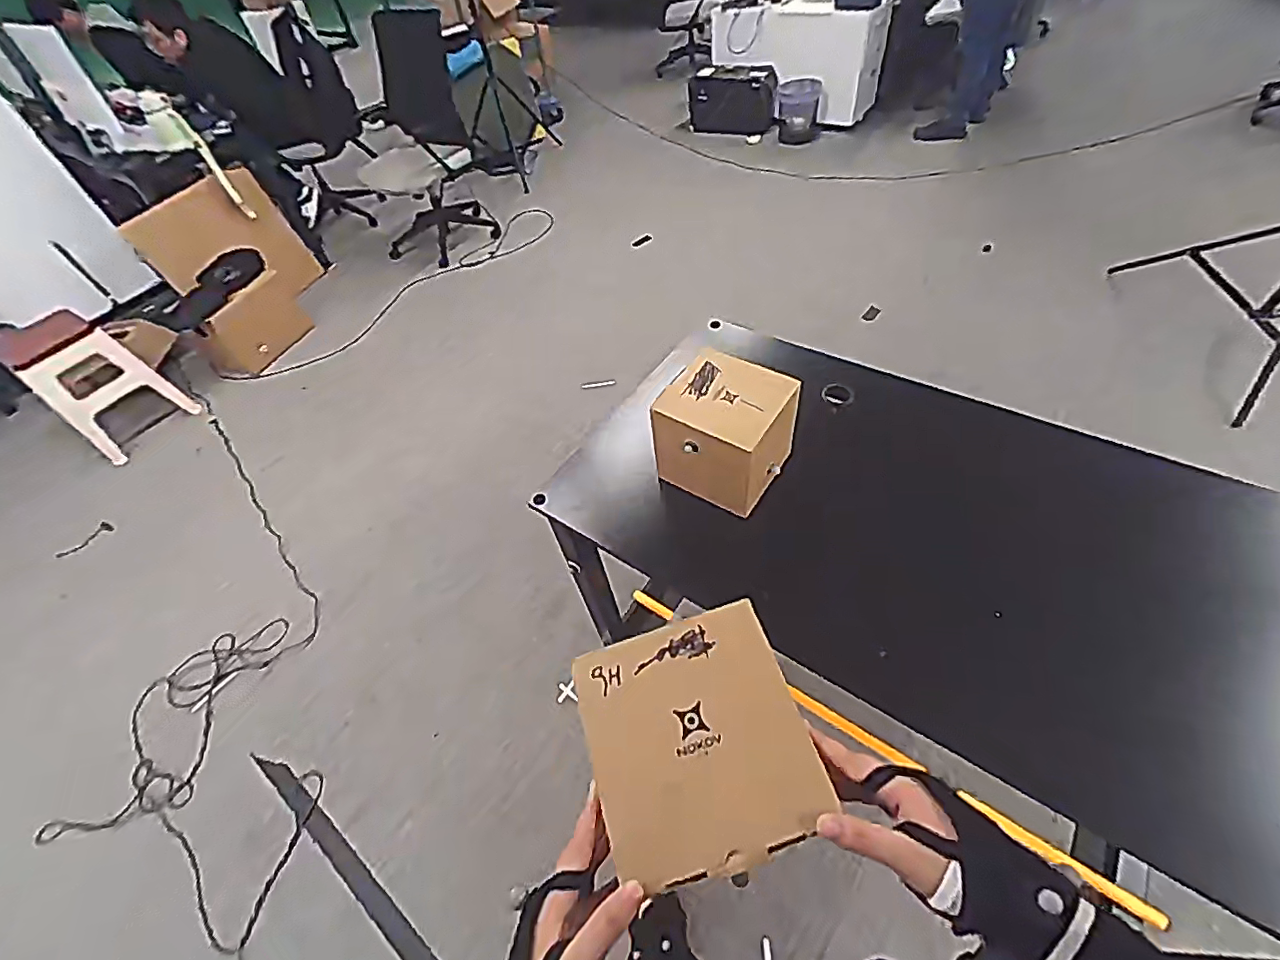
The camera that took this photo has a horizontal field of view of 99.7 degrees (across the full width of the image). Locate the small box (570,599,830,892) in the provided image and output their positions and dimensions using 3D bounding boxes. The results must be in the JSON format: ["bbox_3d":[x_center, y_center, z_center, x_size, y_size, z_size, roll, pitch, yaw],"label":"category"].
[{"bbox_3d":[0.049,0.239,0.496,0.168,0.176,0.179,-18,57,-3],"label":"small box"}]

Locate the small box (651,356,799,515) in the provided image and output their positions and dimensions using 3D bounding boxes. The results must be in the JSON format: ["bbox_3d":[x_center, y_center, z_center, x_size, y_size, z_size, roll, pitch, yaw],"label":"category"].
[{"bbox_3d":[0.138,-0.070,0.893,0.179,0.176,0.168,26,59,25],"label":"small box"}]
